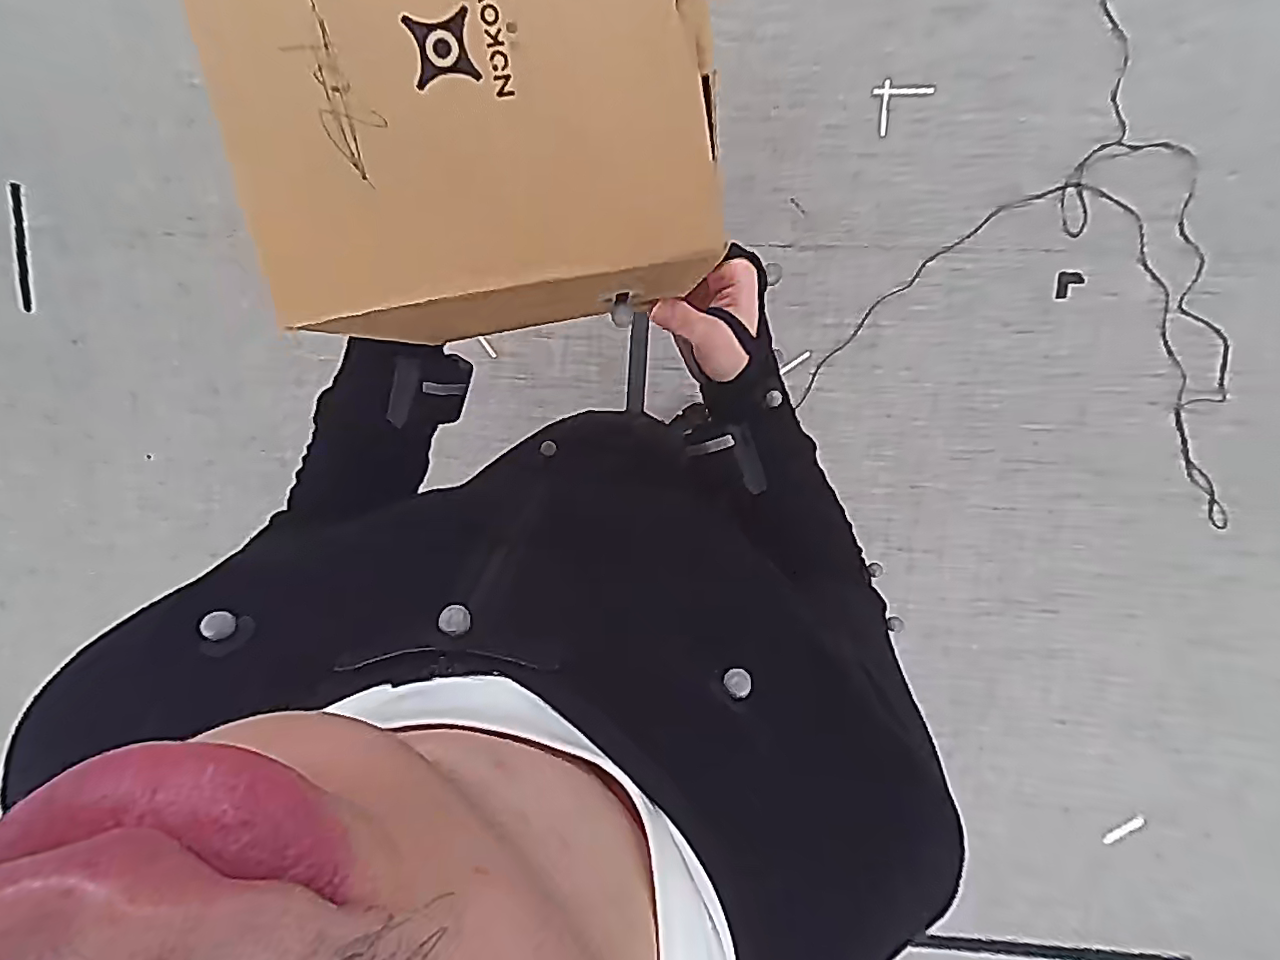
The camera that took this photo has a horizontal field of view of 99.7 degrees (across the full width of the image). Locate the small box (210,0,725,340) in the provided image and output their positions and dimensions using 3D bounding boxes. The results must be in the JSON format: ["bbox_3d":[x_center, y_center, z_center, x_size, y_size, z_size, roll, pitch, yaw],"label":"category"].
[{"bbox_3d":[-0.068,-0.173,0.280,0.179,0.176,0.168,-11,101,0],"label":"small box"}]
